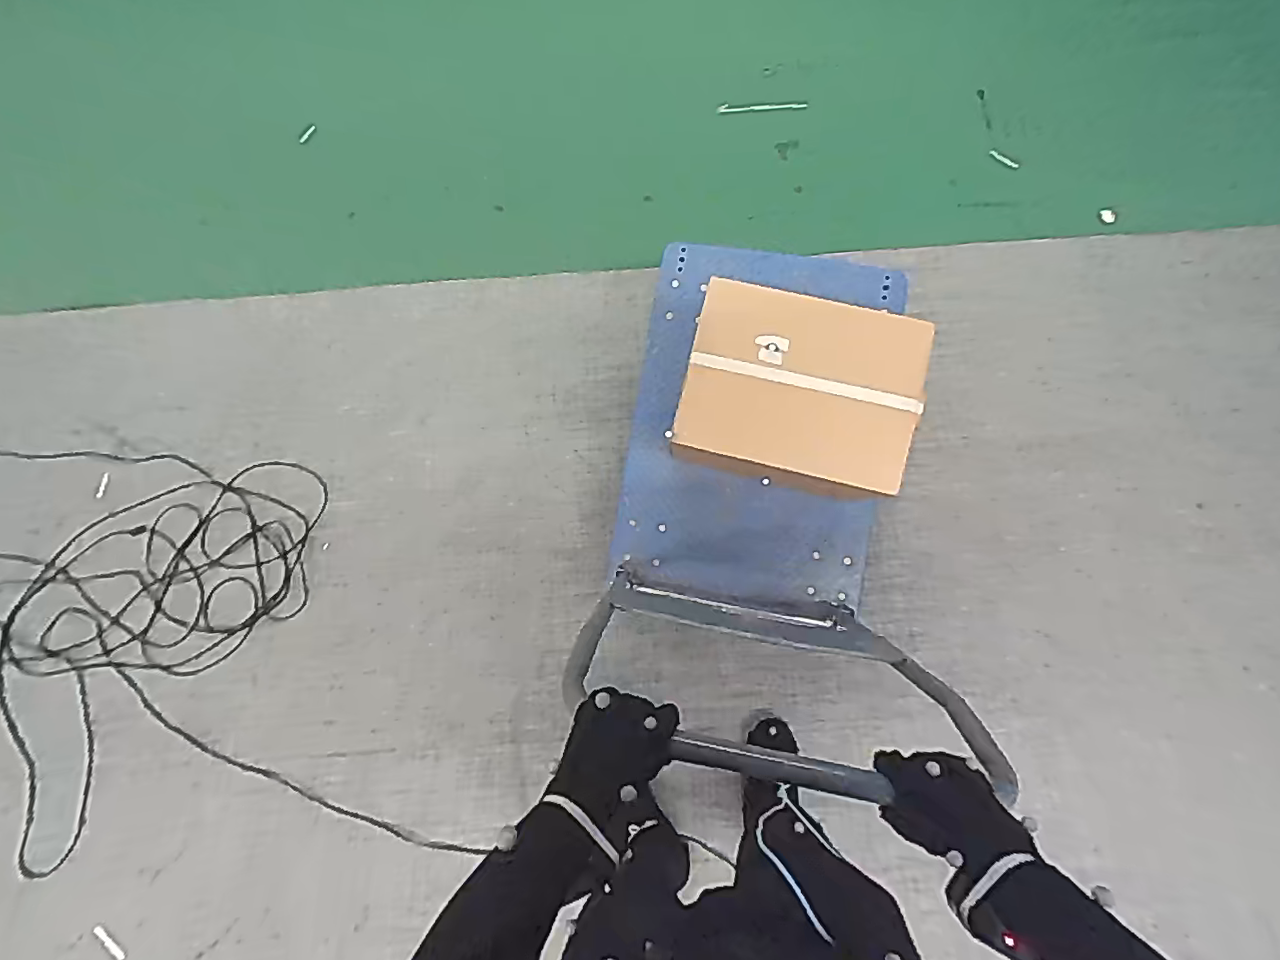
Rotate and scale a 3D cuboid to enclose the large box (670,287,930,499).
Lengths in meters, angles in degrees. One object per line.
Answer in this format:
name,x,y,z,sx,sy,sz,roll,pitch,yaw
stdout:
large box,0.295,-0.152,1.100,0.408,0.320,0.320,14,87,6
